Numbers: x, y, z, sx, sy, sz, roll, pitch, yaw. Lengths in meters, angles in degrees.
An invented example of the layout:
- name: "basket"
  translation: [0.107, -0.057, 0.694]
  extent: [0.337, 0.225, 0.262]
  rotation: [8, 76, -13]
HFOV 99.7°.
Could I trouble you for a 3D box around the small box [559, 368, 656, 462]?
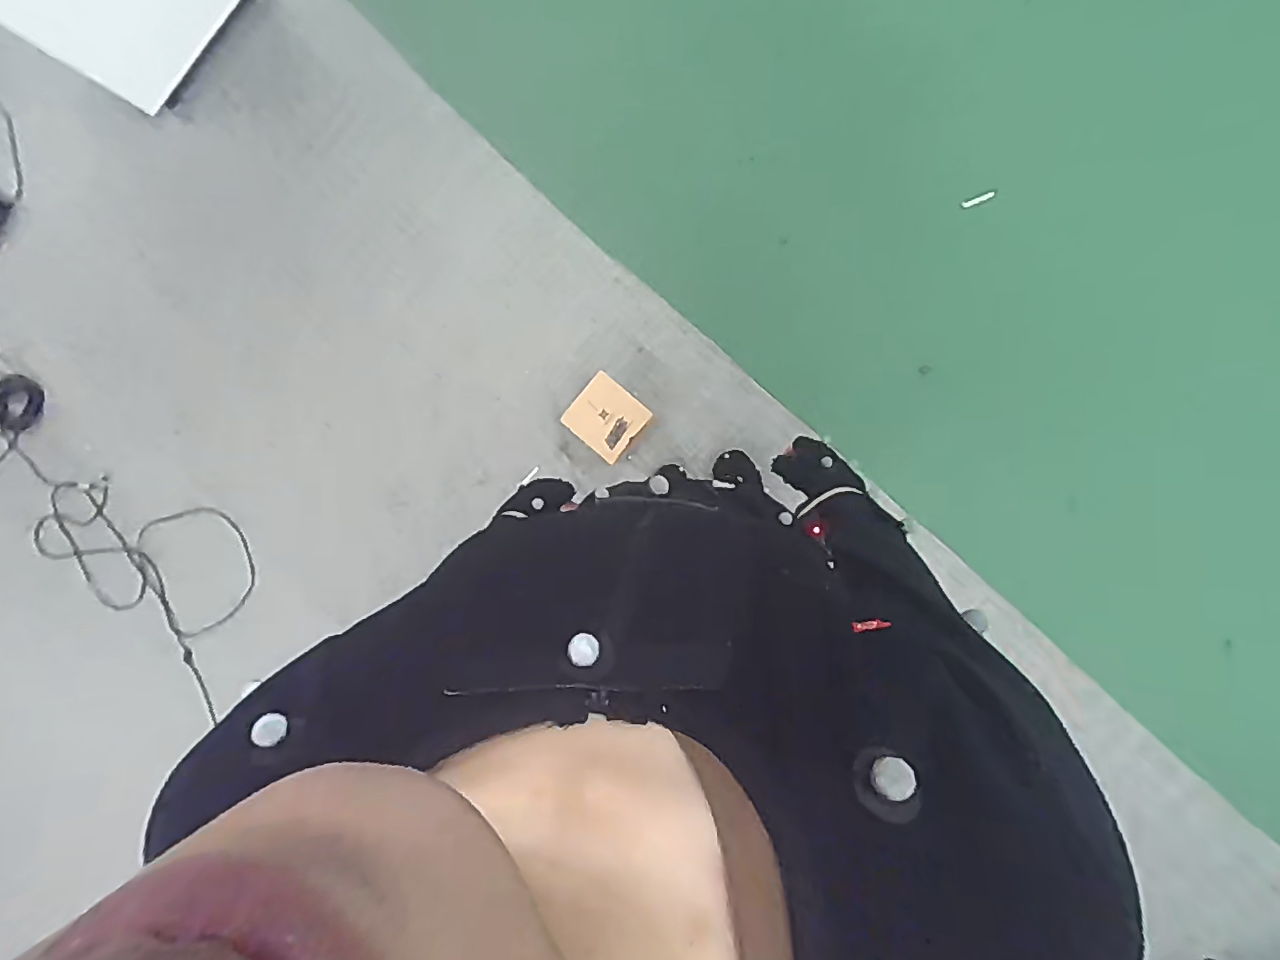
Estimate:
- name: "small box"
  translation: [-0.076, -0.165, 1.405]
  extent: [0.179, 0.176, 0.168]
  rotation: [41, 97, 4]
